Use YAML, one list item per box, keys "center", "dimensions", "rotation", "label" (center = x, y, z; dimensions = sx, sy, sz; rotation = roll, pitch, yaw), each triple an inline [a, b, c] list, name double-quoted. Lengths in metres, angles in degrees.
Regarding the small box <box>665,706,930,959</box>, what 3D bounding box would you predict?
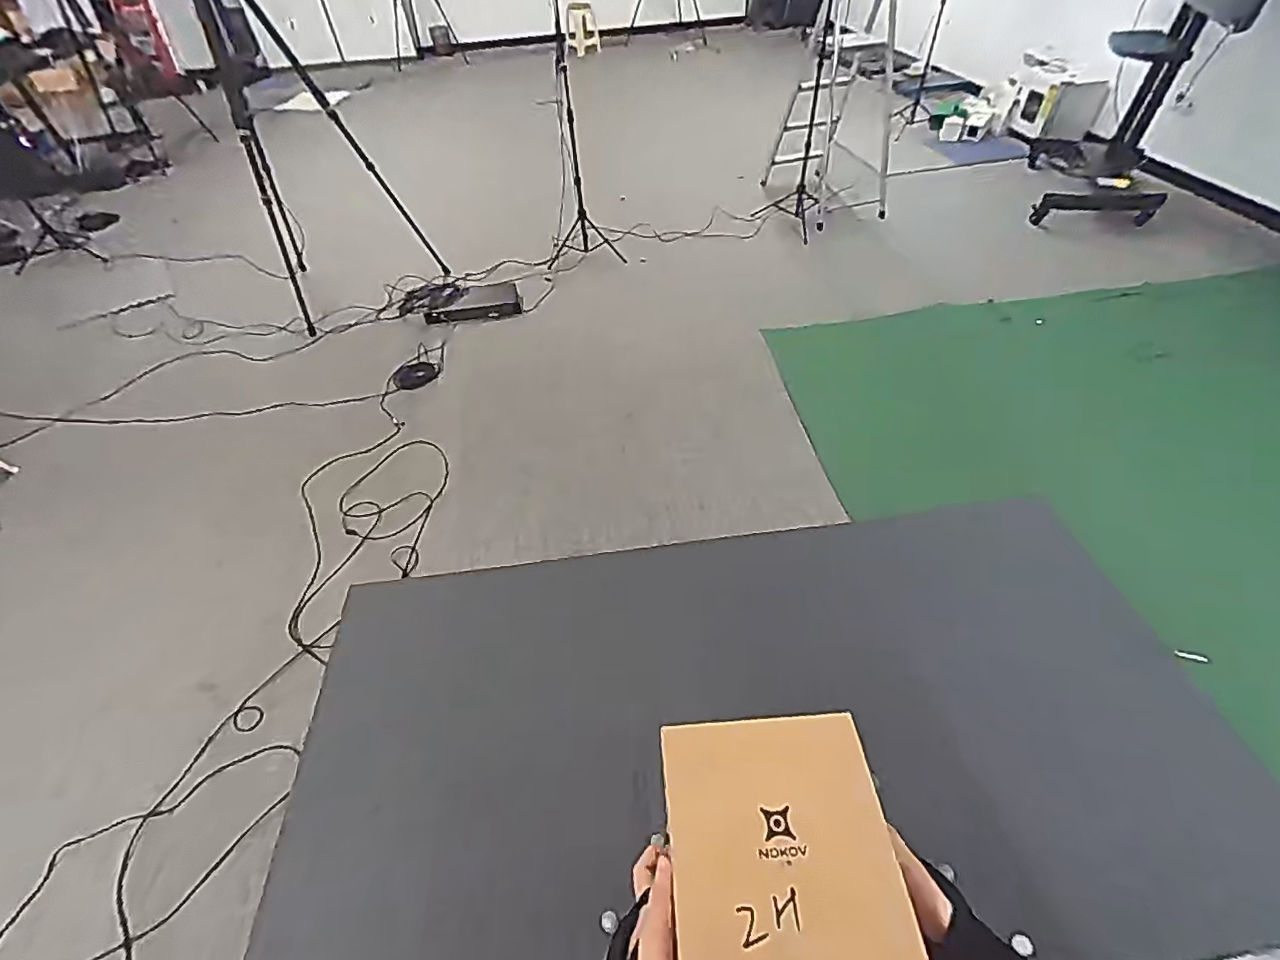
- center: [0.108, 0.317, 0.462]
  dimensions: [0.168, 0.176, 0.179]
  rotation: [-5, 45, 1]
  label: "small box"
